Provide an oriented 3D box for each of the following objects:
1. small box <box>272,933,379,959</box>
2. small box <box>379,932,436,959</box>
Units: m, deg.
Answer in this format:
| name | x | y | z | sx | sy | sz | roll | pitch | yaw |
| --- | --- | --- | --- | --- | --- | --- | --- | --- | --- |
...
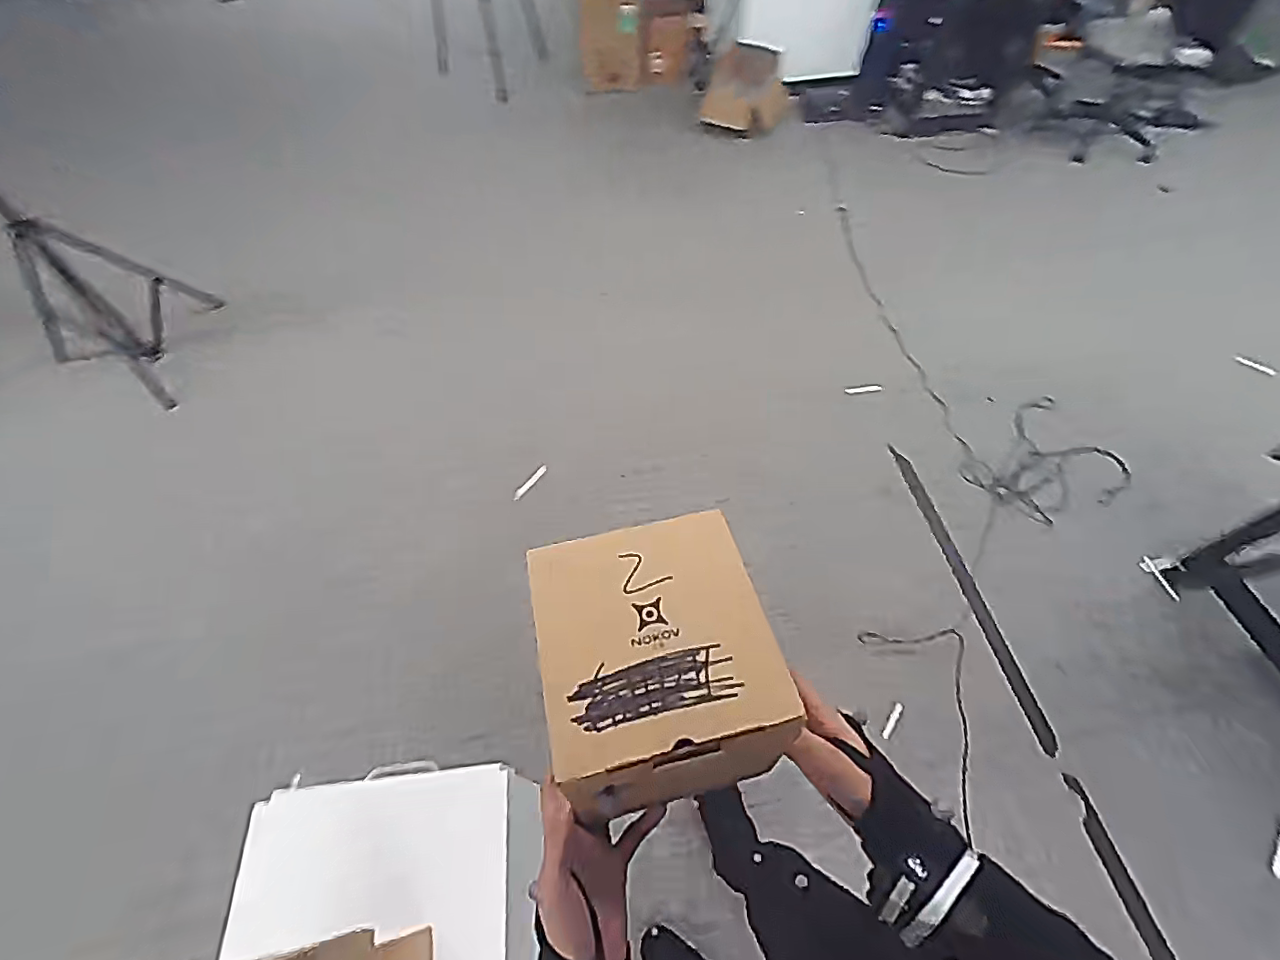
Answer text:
| name | x | y | z | sx | sy | sz | roll | pitch | yaw |
| --- | --- | --- | --- | --- | --- | --- | --- | --- | --- |
| small box | -0.370 | 0.570 | 0.519 | 0.179 | 0.176 | 0.168 | -13 | 57 | -7 |
| small box | -0.346 | 0.678 | 0.642 | 0.168 | 0.176 | 0.179 | -13 | 56 | -8 |
